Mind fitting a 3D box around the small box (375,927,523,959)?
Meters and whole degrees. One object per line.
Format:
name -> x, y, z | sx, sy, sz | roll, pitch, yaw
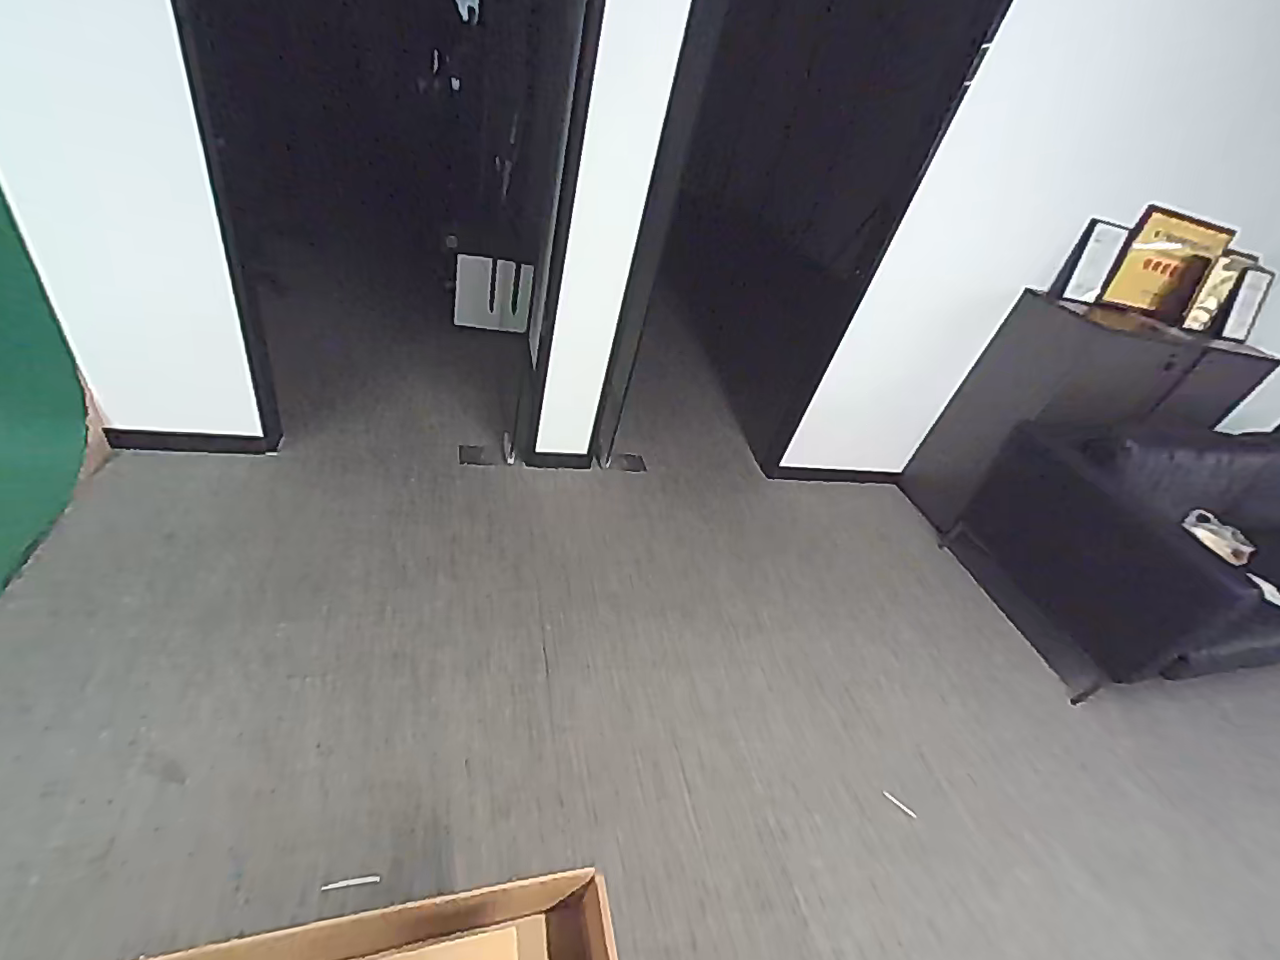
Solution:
small box -> -0.217, 0.641, 0.598 | 0.168, 0.176, 0.179 | 2, 40, -19
